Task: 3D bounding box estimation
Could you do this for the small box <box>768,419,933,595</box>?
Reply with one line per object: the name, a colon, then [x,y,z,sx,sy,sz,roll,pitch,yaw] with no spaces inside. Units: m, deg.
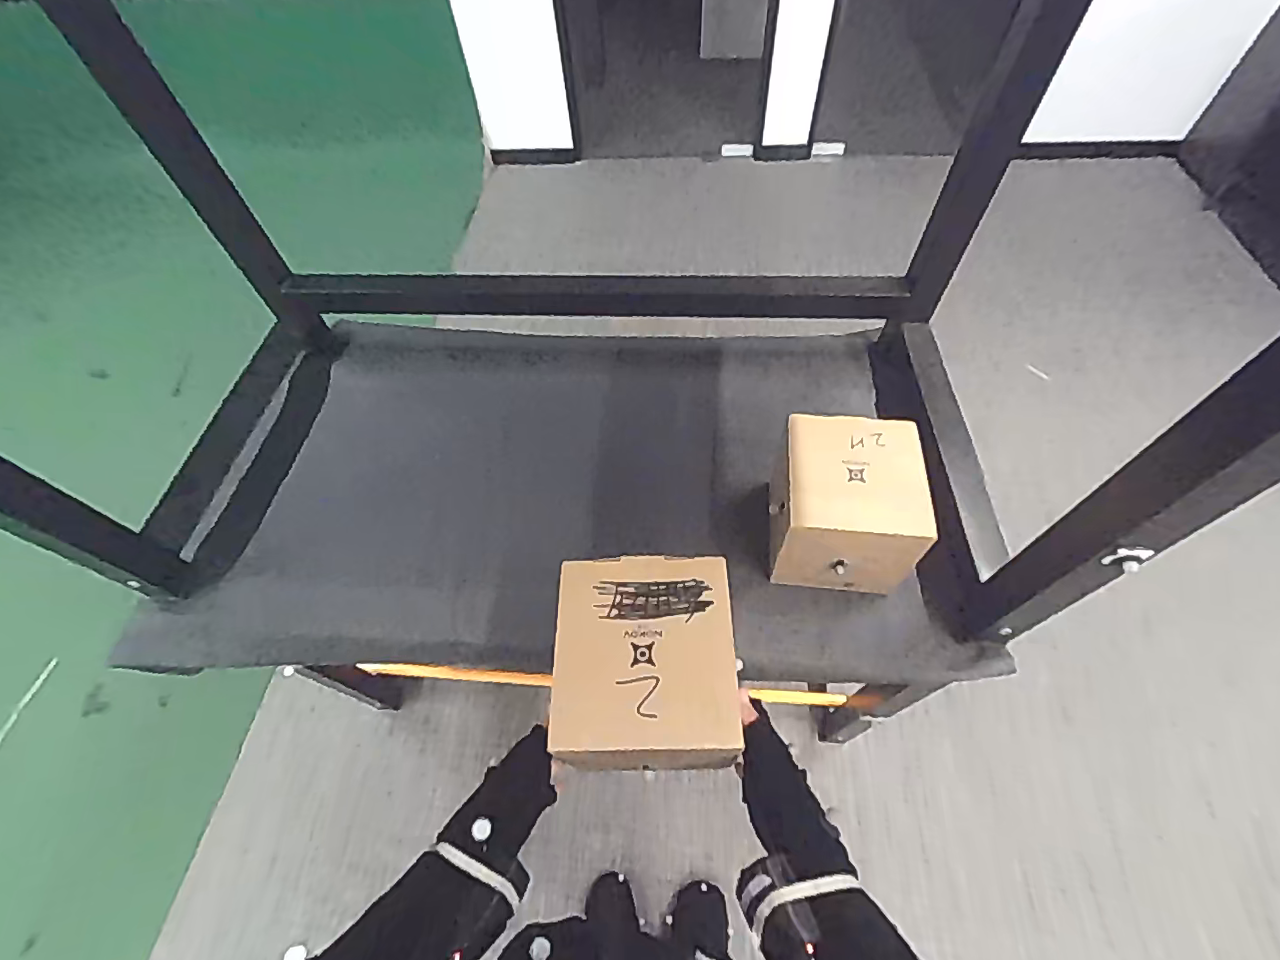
small box: [0.271,0.041,0.736,0.168,0.176,0.179,5,56,6]
